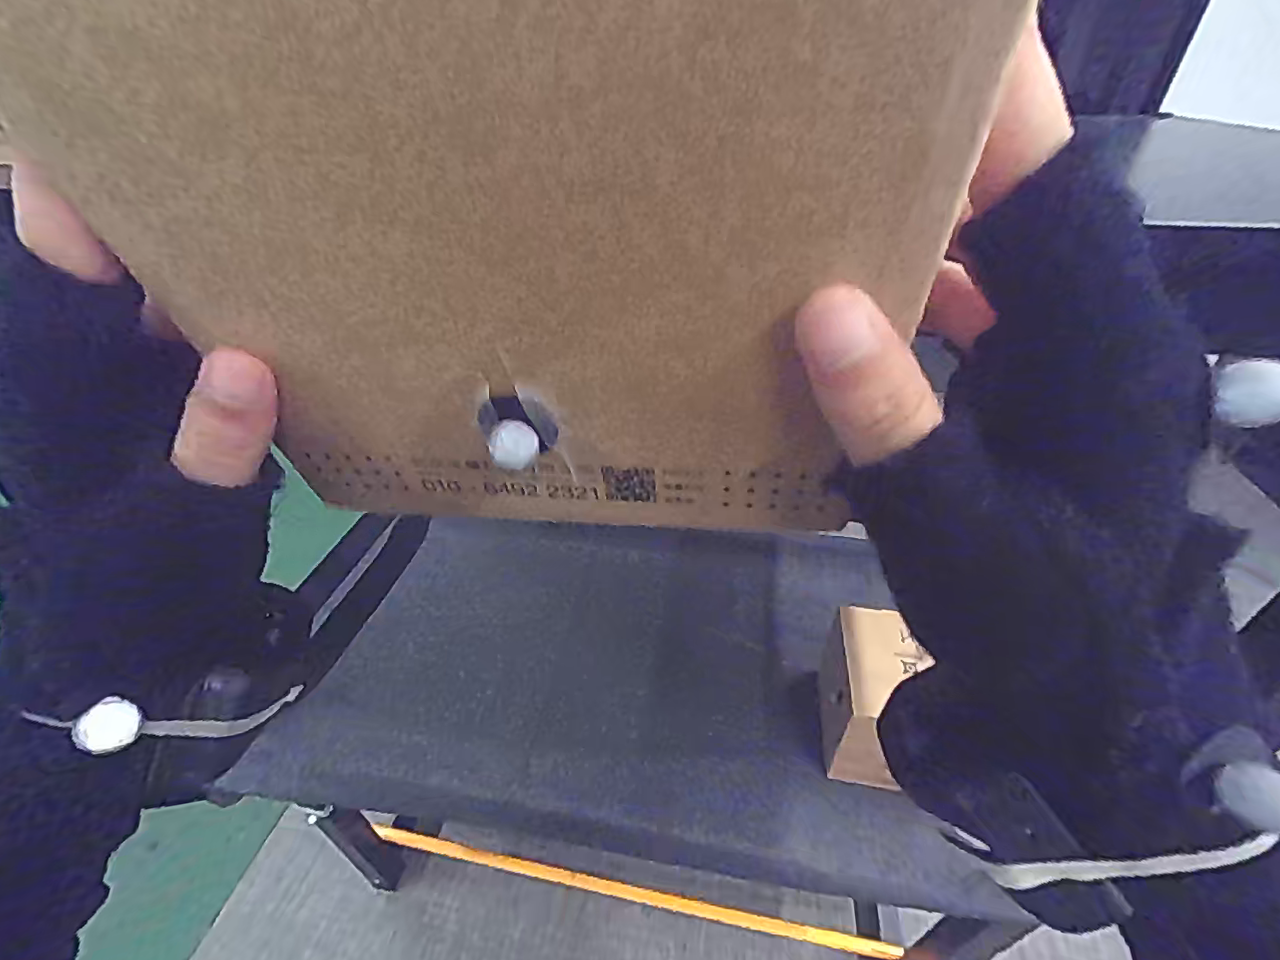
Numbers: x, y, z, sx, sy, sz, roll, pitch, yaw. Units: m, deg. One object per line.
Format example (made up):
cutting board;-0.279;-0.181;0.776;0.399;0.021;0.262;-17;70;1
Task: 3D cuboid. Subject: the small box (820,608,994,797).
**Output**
small box;0.355;0.310;0.759;0.168;0.176;0.179;6;36;9
